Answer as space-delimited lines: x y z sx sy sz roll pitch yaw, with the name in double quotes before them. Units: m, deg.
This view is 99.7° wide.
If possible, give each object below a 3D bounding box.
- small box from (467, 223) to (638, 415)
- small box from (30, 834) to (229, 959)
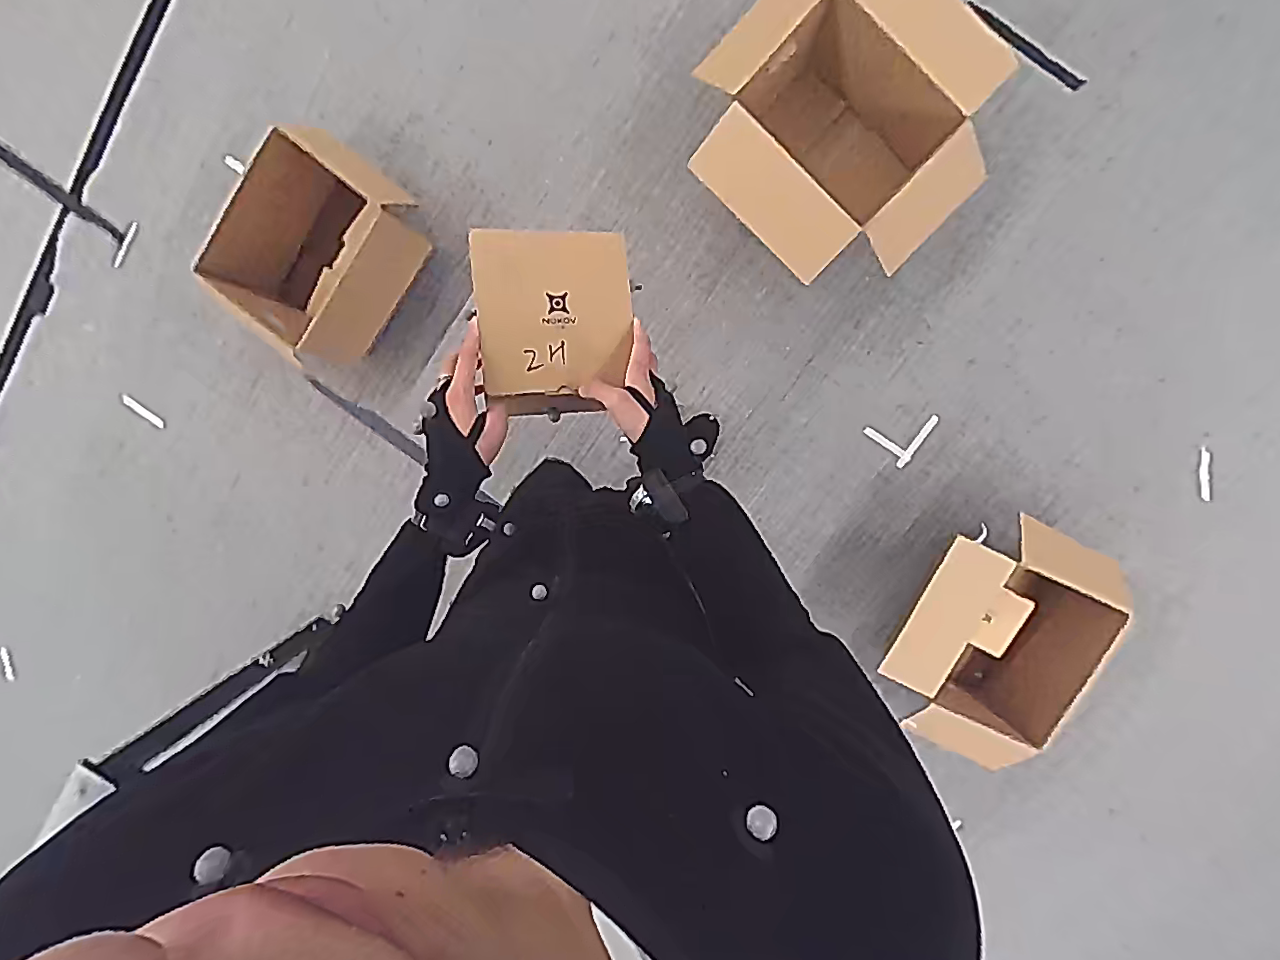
"small box" -0.110 -0.180 0.642 0.168 0.176 0.179 -7 91 -14
"small box" -0.925 0.801 0.994 0.179 0.176 0.168 37 101 -4
